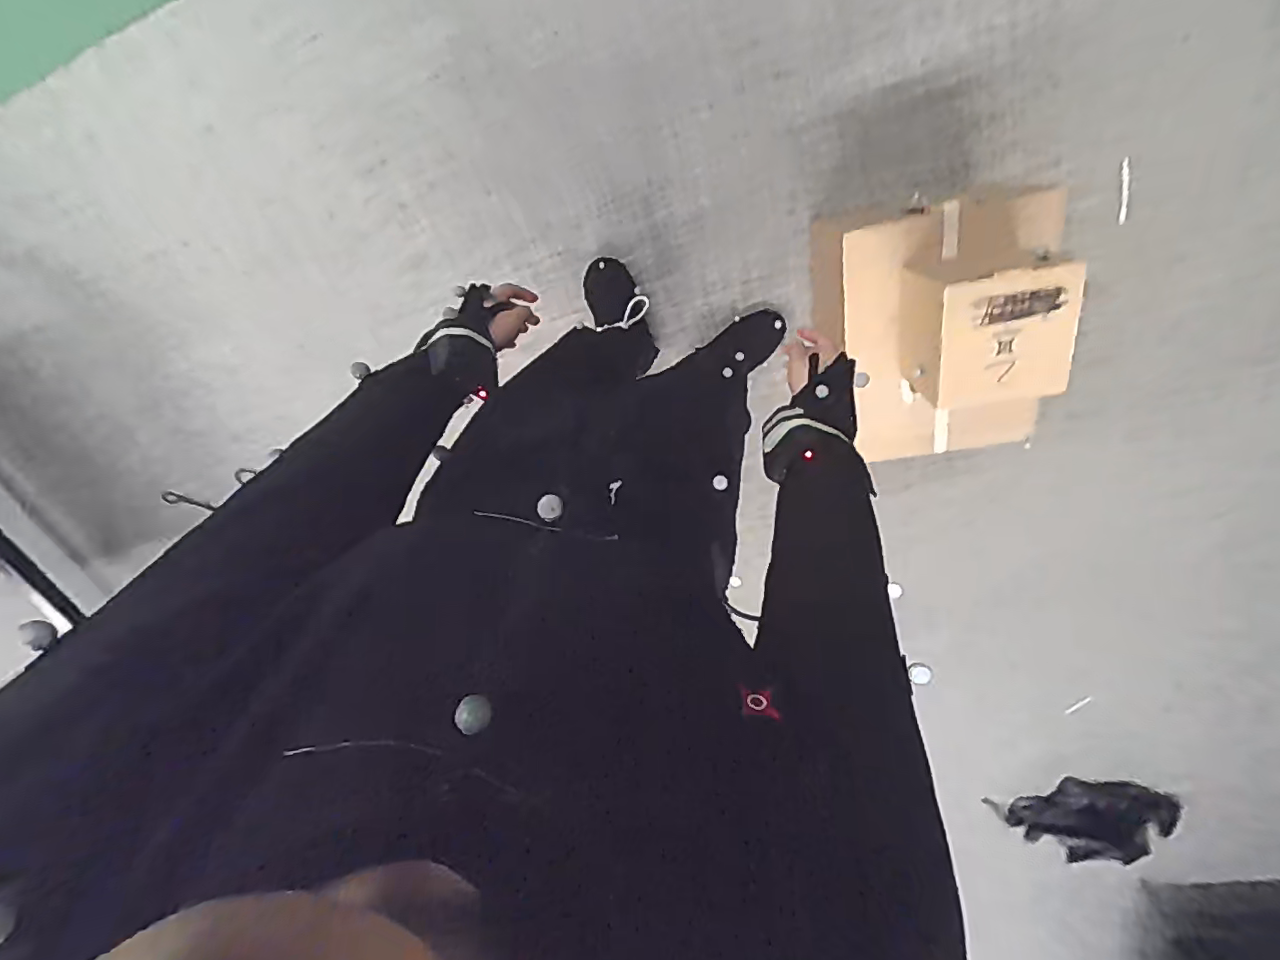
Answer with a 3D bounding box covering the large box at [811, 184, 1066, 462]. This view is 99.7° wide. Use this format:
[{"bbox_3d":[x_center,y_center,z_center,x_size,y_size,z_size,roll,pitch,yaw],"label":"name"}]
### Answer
[{"bbox_3d":[0.516,-0.297,1.013,0.320,0.320,0.408,-7,118,12],"label":"large box"}]
